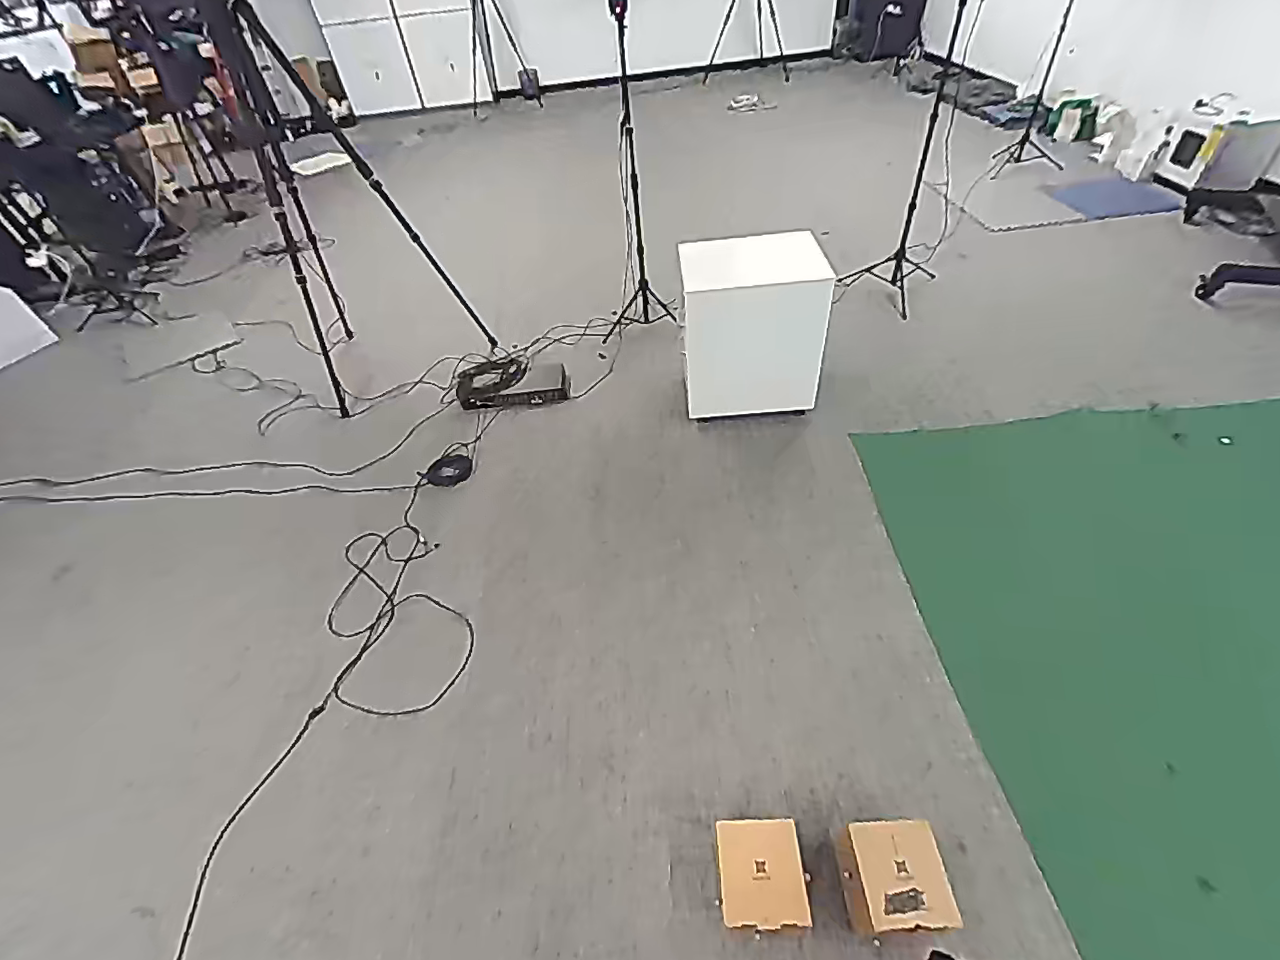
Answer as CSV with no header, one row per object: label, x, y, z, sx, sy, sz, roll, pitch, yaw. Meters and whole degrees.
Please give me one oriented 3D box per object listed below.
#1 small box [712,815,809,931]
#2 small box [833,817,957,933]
small box,0.242,0.823,1.132,0.168,0.176,0.179,-3,47,3
small box,0.510,0.813,1.110,0.168,0.176,0.179,-4,45,3
